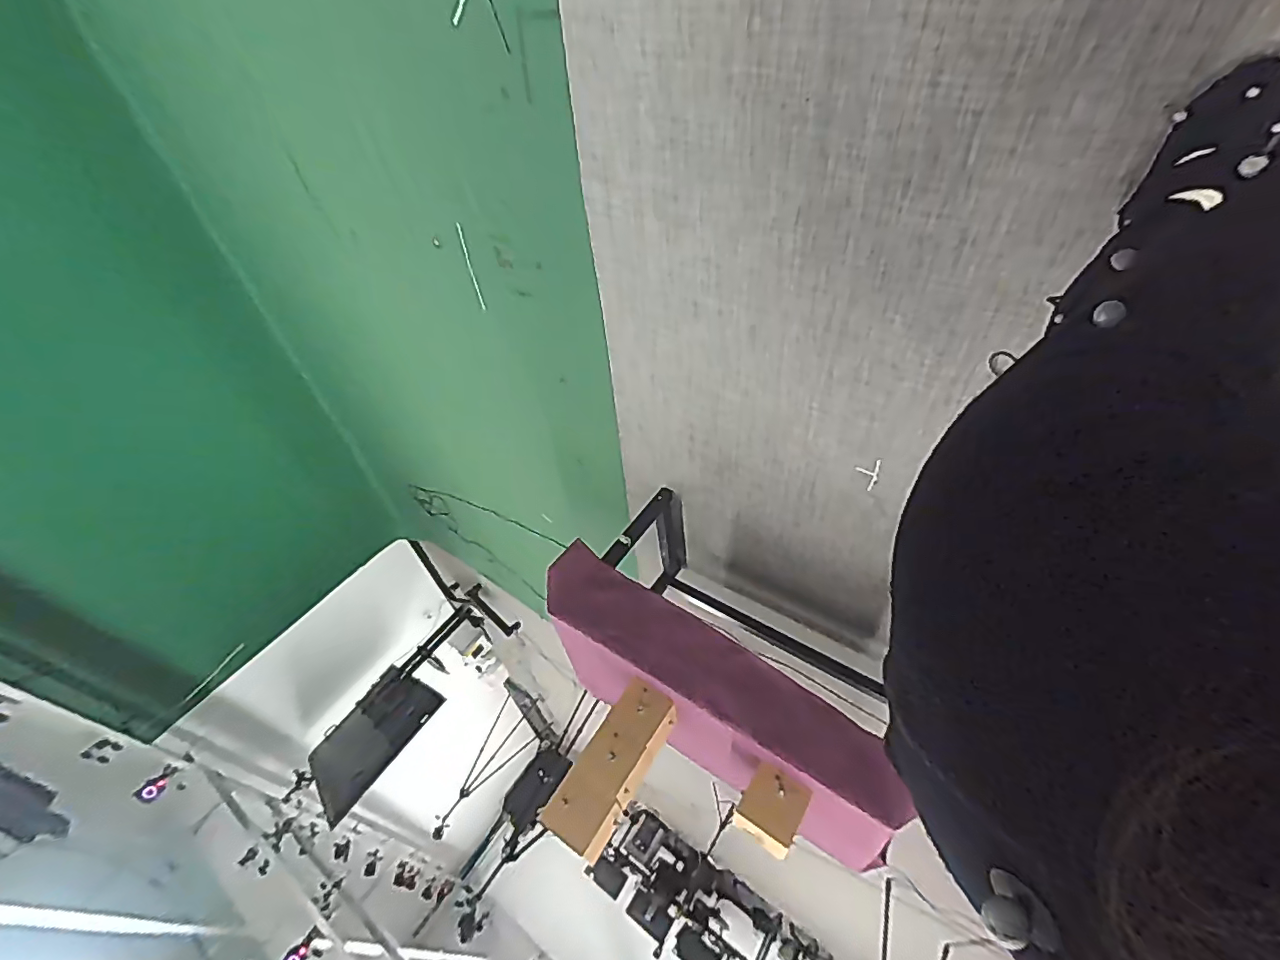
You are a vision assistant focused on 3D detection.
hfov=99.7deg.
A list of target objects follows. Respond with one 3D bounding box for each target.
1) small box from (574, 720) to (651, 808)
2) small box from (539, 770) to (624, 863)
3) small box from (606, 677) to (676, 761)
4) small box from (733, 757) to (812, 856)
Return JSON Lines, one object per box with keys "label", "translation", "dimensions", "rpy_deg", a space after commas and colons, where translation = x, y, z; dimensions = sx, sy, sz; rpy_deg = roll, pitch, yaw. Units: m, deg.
{"label": "small box", "translation": [-0.082, 0.900, 1.720], "dimensions": [0.168, 0.176, 0.179], "rpy_deg": [24, 145, 27]}
{"label": "small box", "translation": [-0.171, 1.009, 1.637], "dimensions": [0.179, 0.176, 0.168], "rpy_deg": [23, 145, 27]}
{"label": "small box", "translation": [0.009, 0.793, 1.808], "dimensions": [0.168, 0.176, 0.179], "rpy_deg": [24, 144, 27]}
{"label": "small box", "translation": [0.390, 0.960, 1.595], "dimensions": [0.168, 0.176, 0.179], "rpy_deg": [25, 144, 26]}
